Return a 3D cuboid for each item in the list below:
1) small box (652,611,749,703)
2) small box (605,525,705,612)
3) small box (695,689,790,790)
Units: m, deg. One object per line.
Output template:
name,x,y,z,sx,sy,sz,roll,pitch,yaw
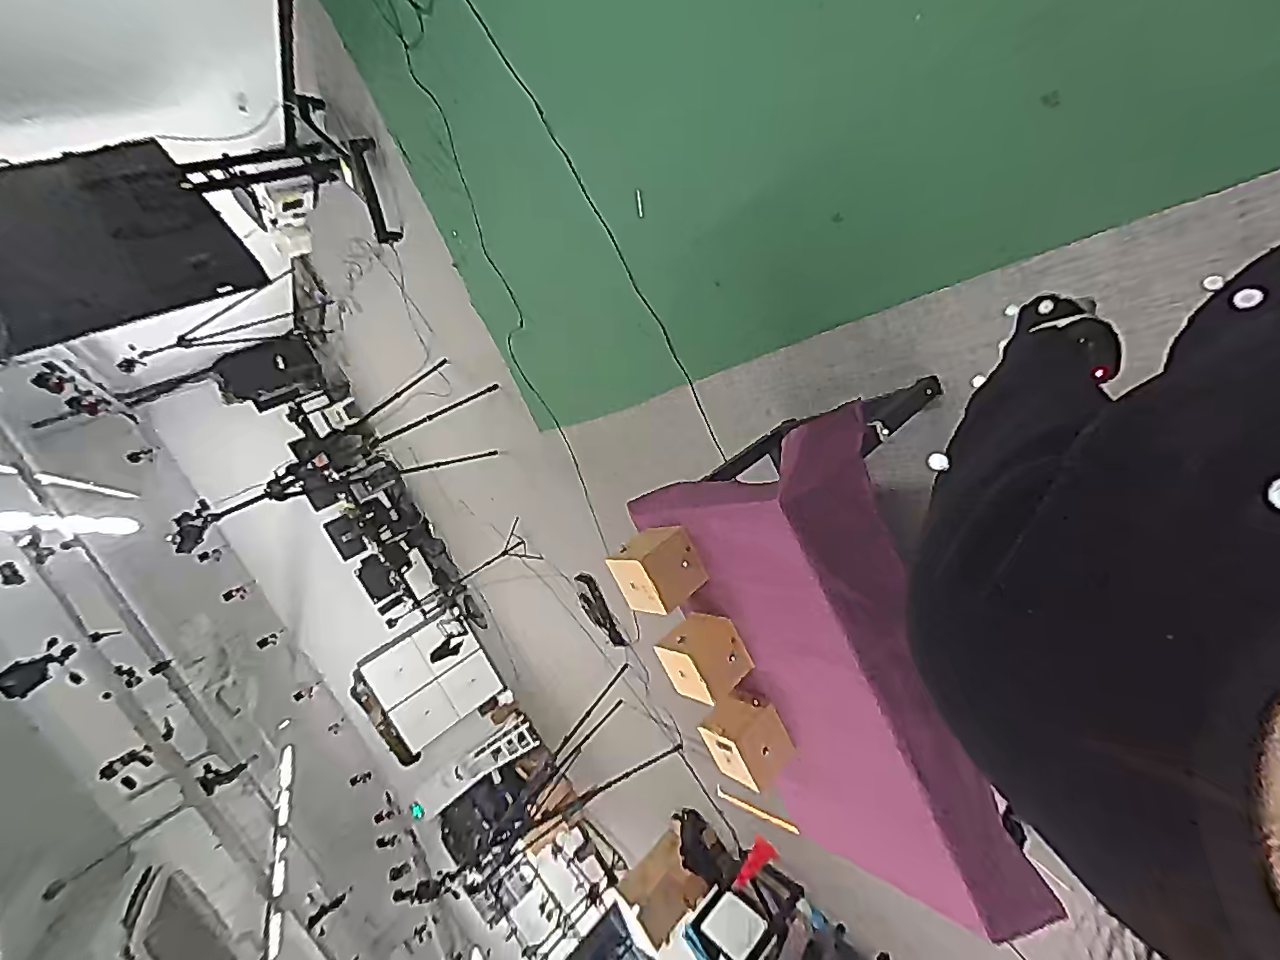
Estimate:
small box,0.172,0.487,1.517,0.179,0.176,0.168,-13,106,57
small box,0.043,0.234,1.462,0.179,0.176,0.168,-10,110,55
small box,0.298,0.736,1.557,0.168,0.176,0.179,-10,110,58
